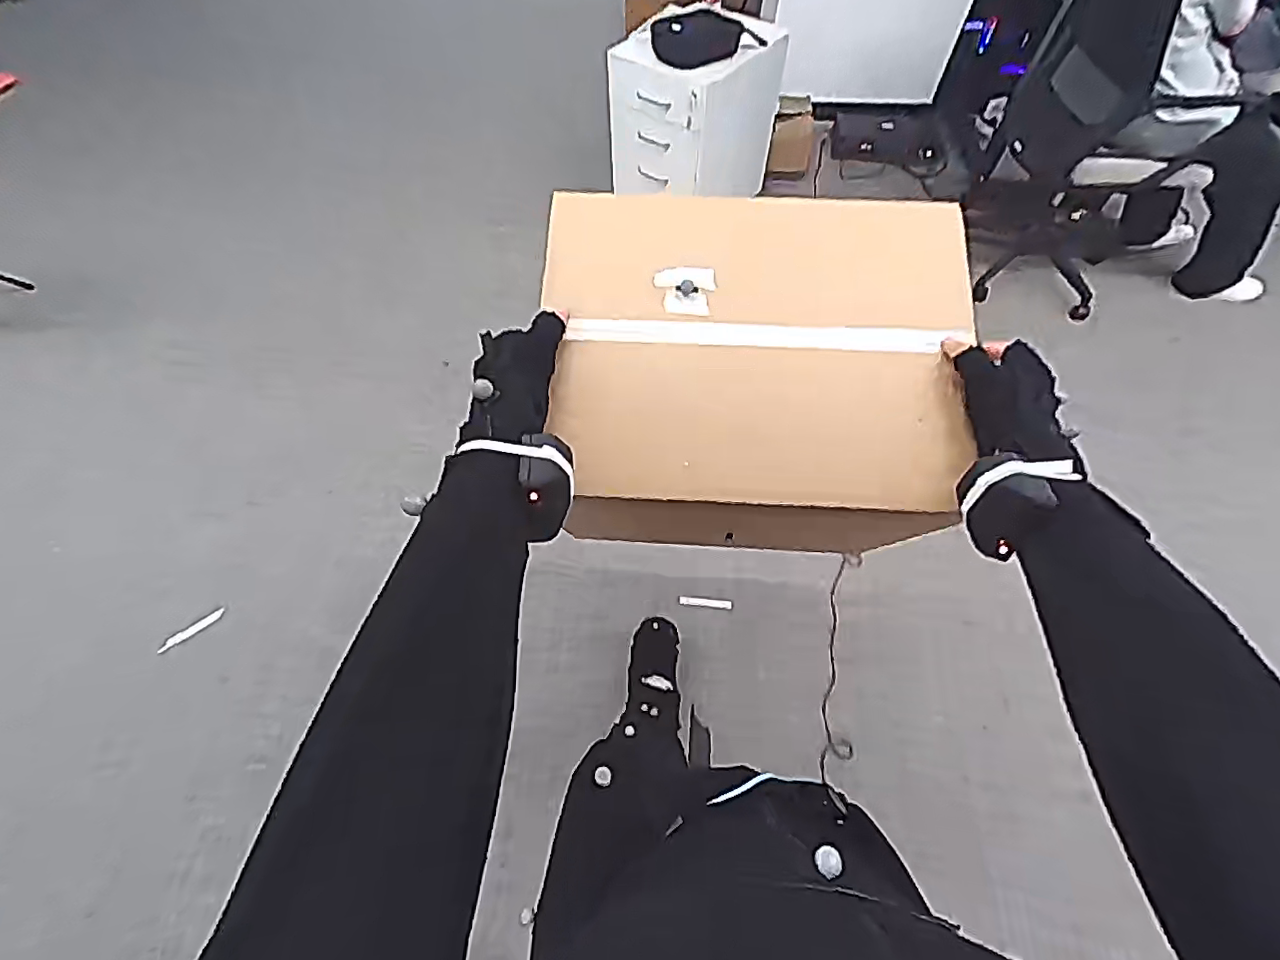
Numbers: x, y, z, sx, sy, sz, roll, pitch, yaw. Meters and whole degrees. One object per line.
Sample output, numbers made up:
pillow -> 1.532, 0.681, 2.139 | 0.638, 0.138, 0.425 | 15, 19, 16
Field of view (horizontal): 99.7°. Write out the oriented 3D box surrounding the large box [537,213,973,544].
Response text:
large box -> 0.115, -0.094, 0.671 | 0.408, 0.320, 0.320 | 2, 75, 3
